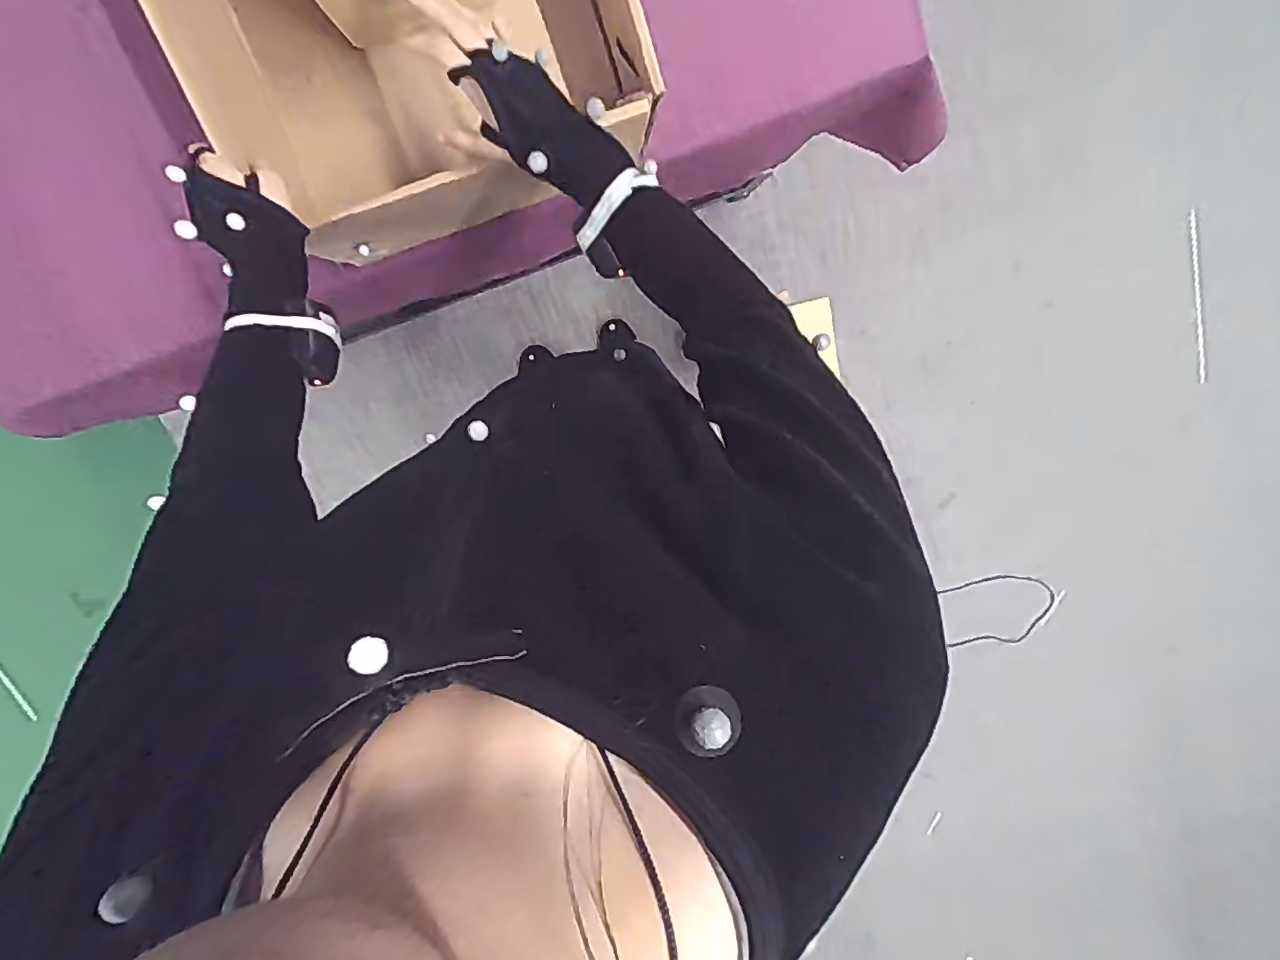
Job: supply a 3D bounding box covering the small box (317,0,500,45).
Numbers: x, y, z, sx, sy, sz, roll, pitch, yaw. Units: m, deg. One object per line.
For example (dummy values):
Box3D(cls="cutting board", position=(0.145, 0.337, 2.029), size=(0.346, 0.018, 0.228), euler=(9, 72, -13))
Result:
Box3D(cls="small box", position=(-0.241, -0.536, 0.482), size=(0.168, 0.176, 0.179), euler=(-18, 104, 2))
